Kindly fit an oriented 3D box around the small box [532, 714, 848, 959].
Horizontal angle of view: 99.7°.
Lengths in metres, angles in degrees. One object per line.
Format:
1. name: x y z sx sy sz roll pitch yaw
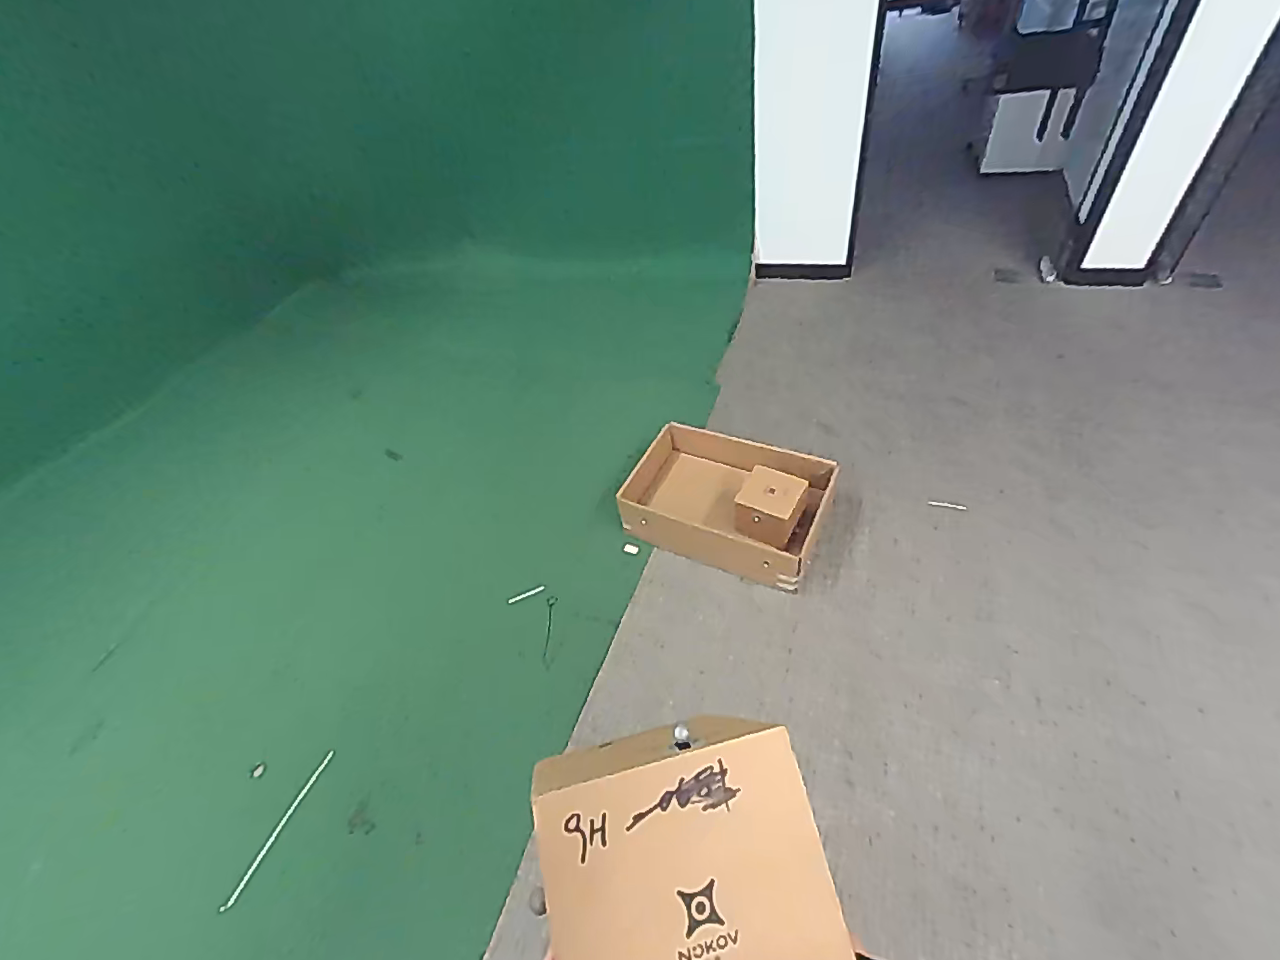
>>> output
1. small box: 0.020 0.278 0.382 0.168 0.176 0.179 -9 71 -14
